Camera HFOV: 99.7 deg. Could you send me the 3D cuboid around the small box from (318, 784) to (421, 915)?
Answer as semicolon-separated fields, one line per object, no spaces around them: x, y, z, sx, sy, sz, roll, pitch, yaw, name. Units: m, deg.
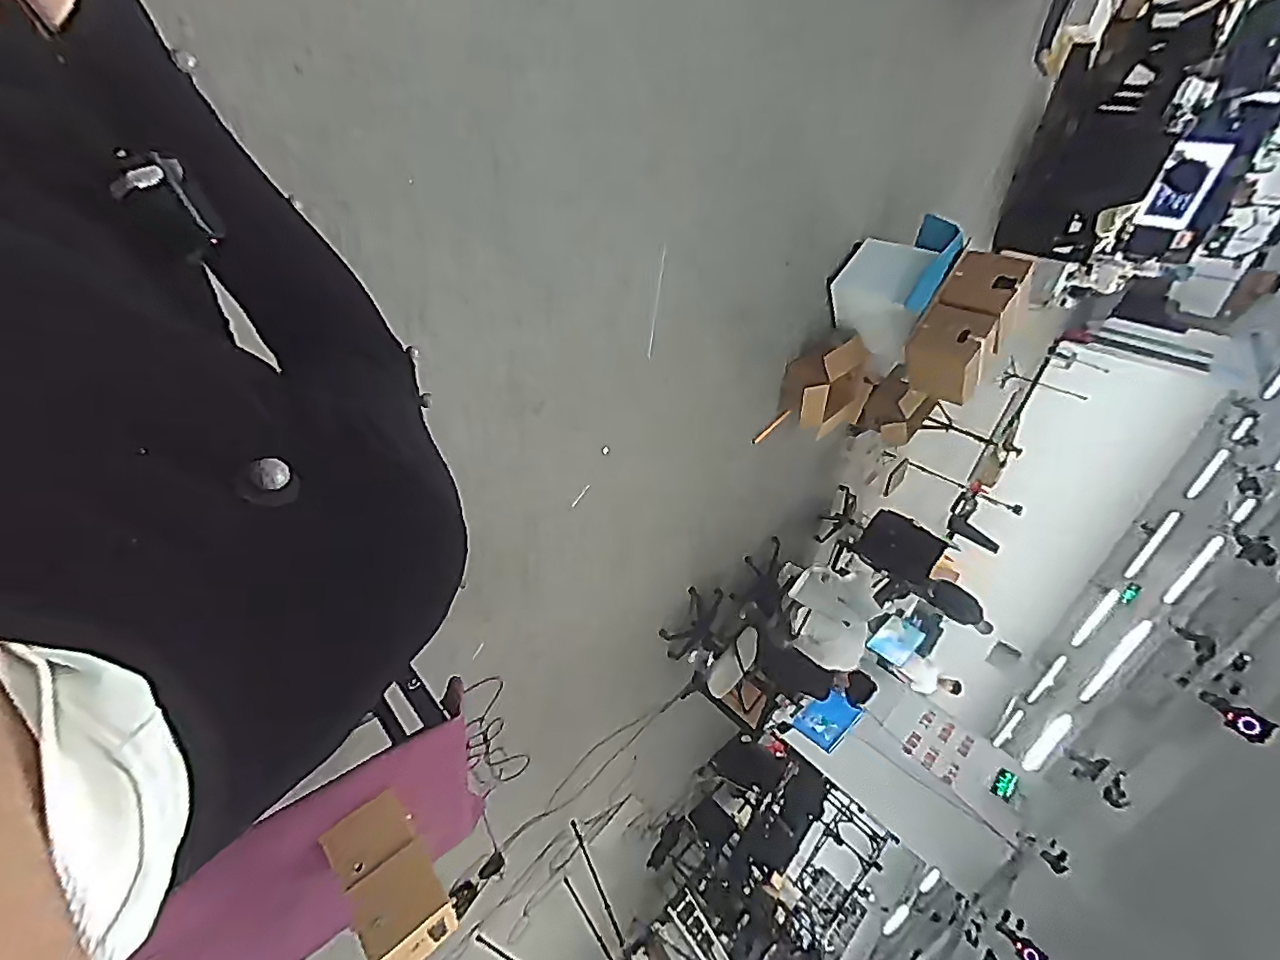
-0.677;0.914;1.350;0.179;0.176;0.168;-26;137;-37;small box
